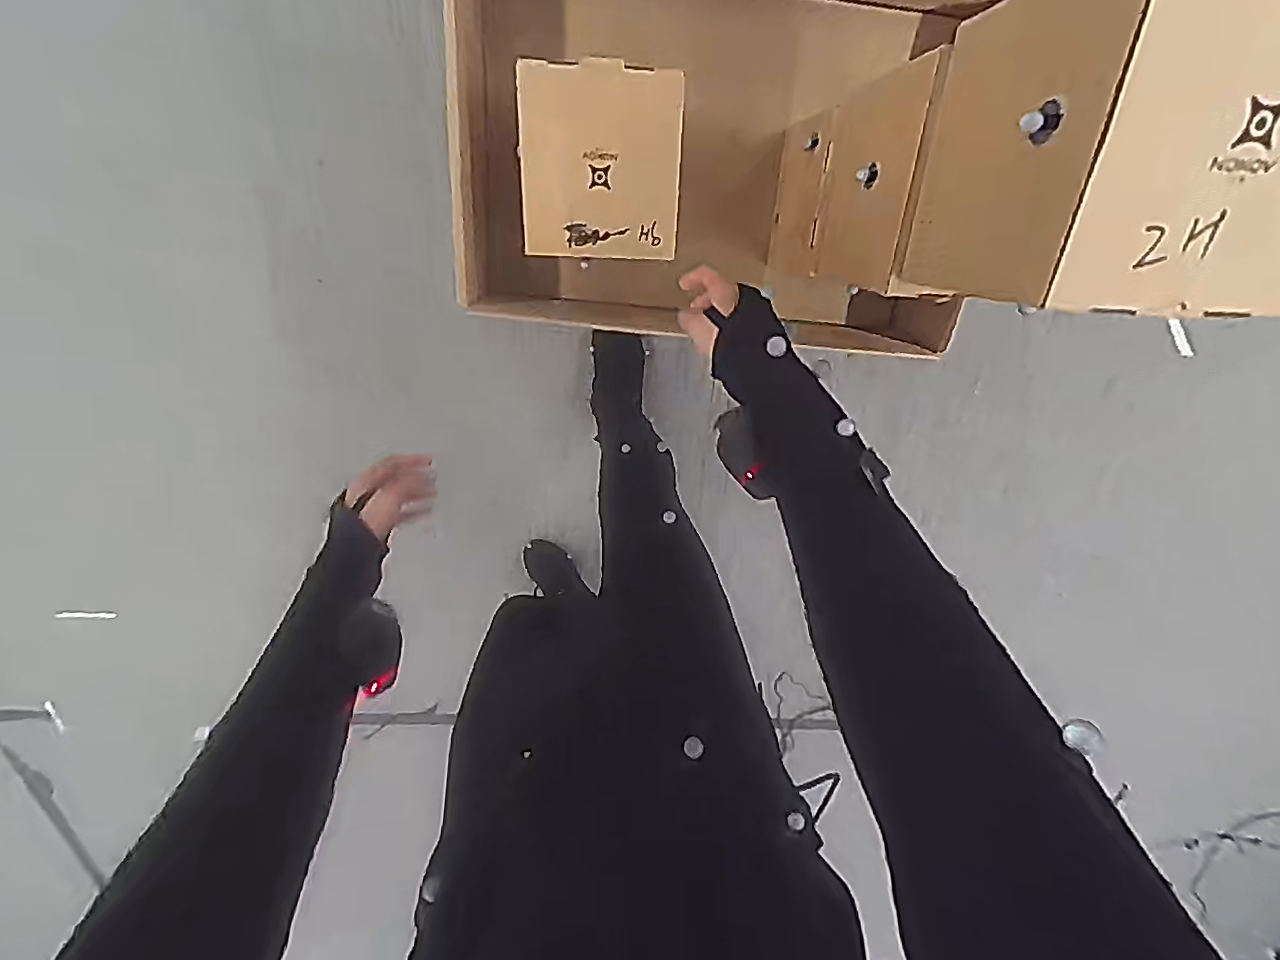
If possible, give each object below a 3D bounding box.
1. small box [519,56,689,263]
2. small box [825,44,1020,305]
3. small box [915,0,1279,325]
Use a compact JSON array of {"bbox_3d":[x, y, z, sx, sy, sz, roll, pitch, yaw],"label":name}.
[{"bbox_3d":[-0.043,-0.351,0.619,0.168,0.176,0.179,1,116,-3],"label":"small box"},{"bbox_3d":[0.289,-0.266,0.498,0.168,0.176,0.179,0,116,-5],"label":"small box"},{"bbox_3d":[0.309,-0.205,0.346,0.168,0.176,0.179,0,117,-4],"label":"small box"}]
